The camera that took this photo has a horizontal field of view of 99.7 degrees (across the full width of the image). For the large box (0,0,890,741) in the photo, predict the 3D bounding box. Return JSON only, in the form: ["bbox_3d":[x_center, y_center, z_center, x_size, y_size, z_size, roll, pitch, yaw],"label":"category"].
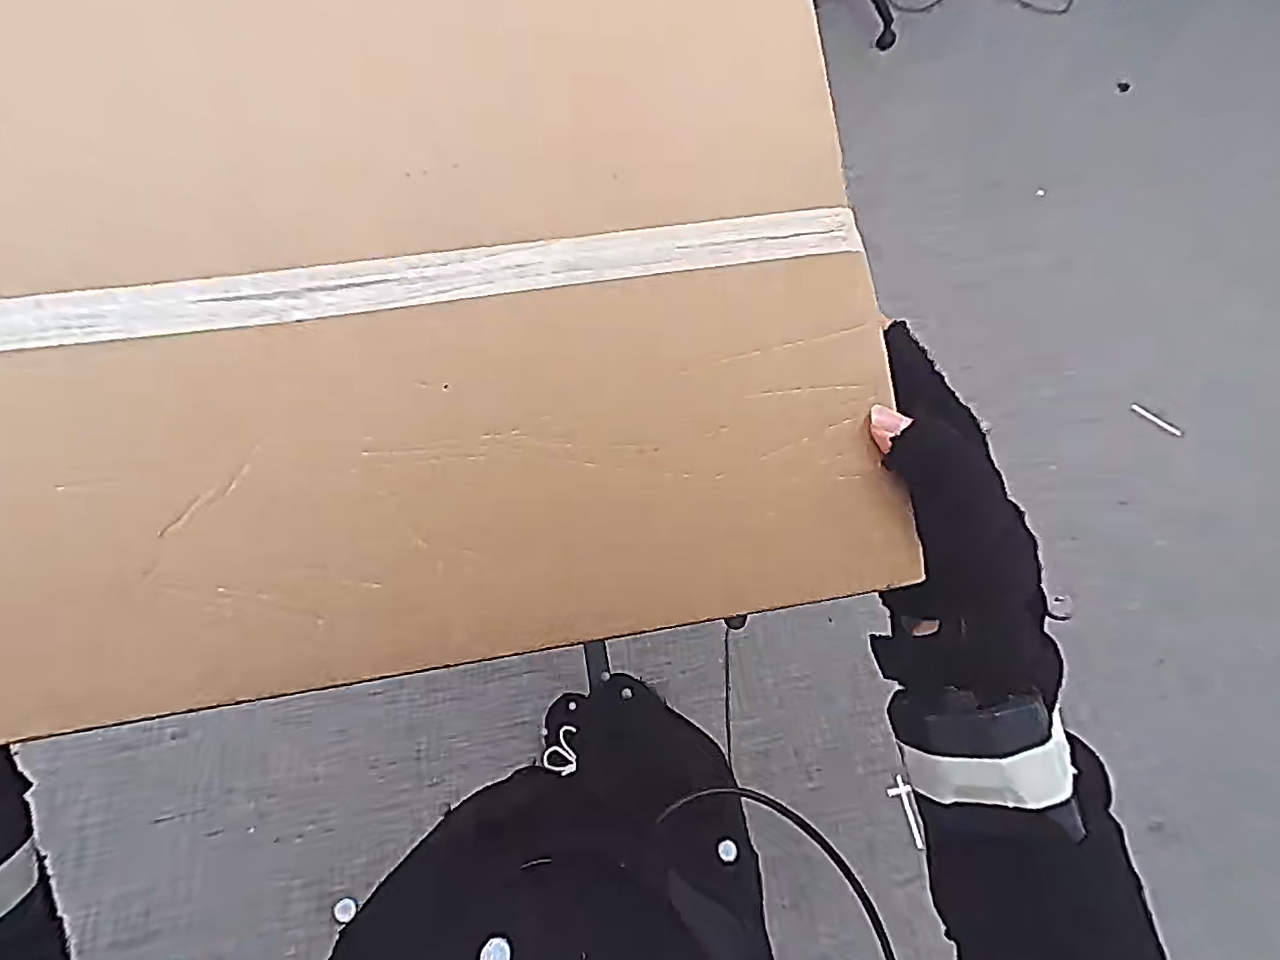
[{"bbox_3d":[-0.114,-0.065,0.384,0.408,0.320,0.320,-9,85,-5],"label":"large box"}]
